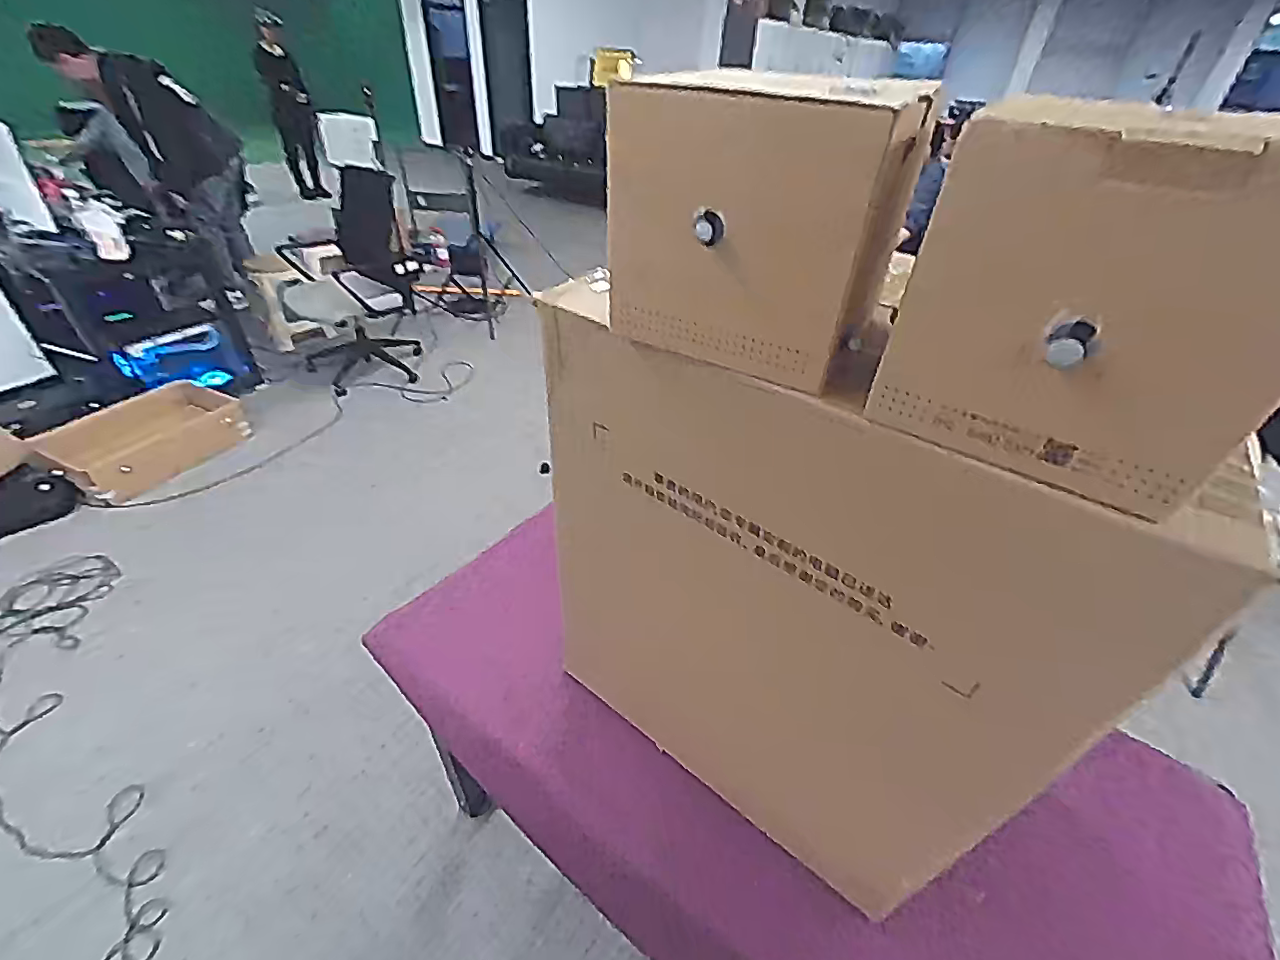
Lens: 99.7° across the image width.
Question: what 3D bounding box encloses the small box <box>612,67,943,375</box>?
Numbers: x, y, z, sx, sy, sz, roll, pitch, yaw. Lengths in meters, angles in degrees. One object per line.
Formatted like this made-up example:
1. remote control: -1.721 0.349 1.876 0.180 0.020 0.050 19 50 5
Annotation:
1. small box: 0.095 -0.197 0.407 0.179 0.176 0.168 22 43 22

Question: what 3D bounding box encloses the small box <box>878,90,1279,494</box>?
1. small box: 0.265 -0.120 0.323 0.168 0.176 0.179 27 46 25
